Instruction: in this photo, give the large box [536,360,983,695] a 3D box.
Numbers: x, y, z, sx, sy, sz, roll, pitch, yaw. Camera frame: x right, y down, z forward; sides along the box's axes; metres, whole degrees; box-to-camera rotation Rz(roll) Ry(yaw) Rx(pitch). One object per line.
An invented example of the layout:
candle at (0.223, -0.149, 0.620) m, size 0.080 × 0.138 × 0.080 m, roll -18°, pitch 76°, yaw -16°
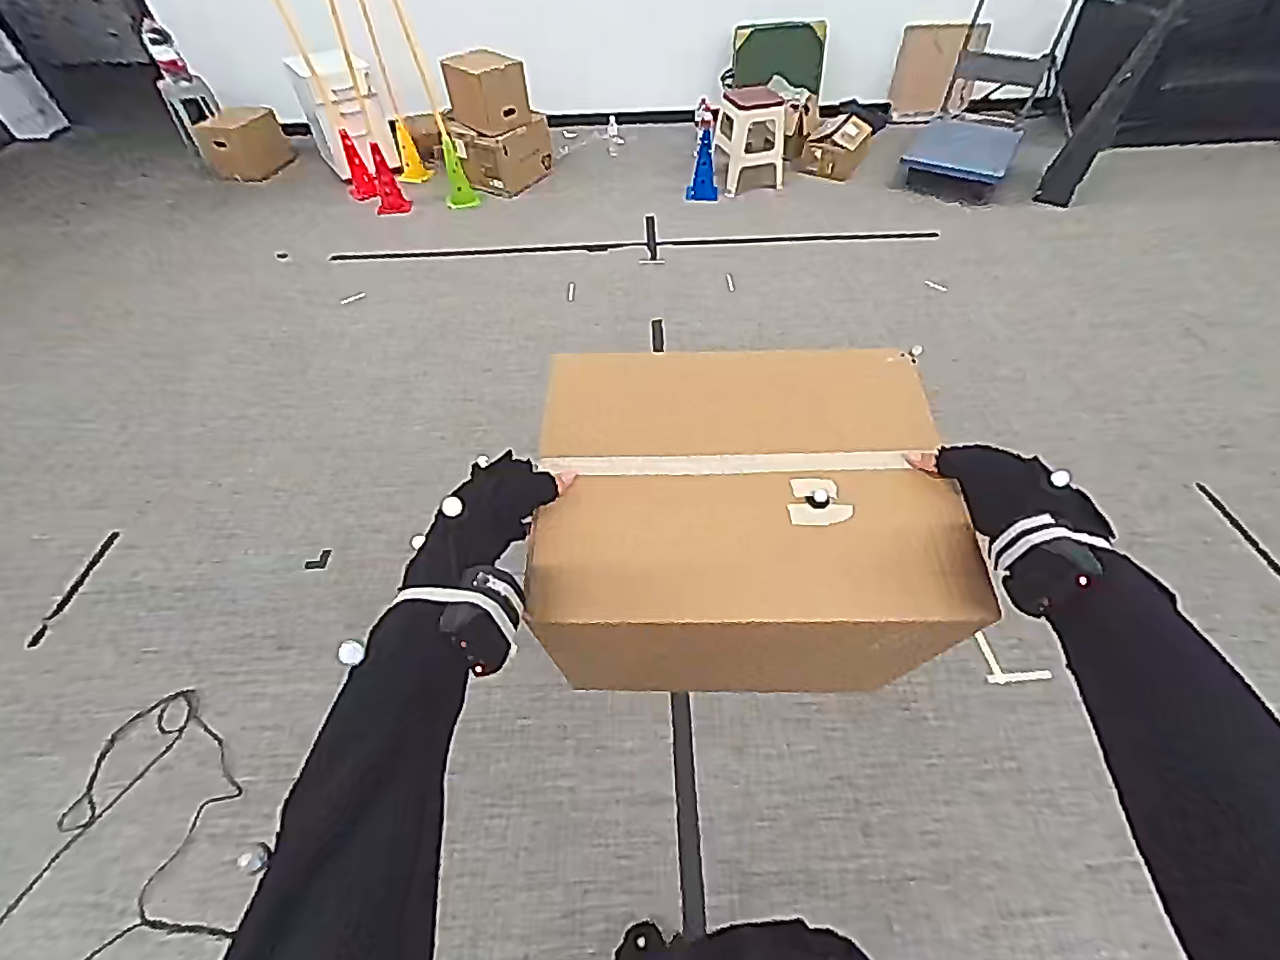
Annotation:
large box at (0.104, 0.073, 0.677) m, size 0.408 × 0.320 × 0.320 m, roll -1°, pitch 58°, yaw 1°
